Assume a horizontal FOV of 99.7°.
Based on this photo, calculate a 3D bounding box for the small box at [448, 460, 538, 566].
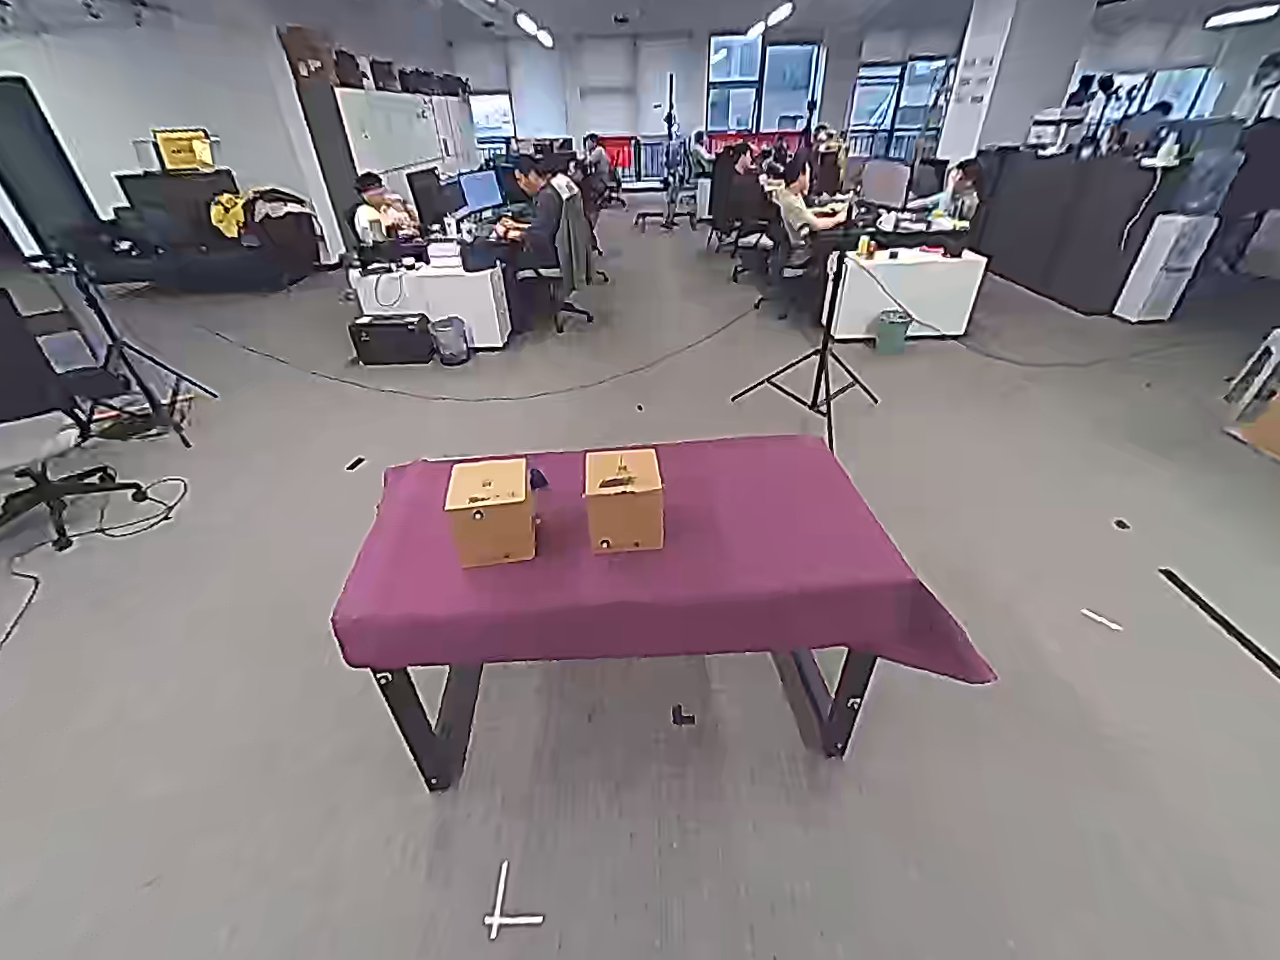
[{"bbox_3d":[-0.328,0.073,1.236,0.168,0.176,0.179,-7,33,-7],"label":"small box"}]

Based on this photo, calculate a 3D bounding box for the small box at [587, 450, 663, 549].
[{"bbox_3d":[-0.034,0.049,1.260,0.168,0.176,0.179,-3,33,-3],"label":"small box"}]
